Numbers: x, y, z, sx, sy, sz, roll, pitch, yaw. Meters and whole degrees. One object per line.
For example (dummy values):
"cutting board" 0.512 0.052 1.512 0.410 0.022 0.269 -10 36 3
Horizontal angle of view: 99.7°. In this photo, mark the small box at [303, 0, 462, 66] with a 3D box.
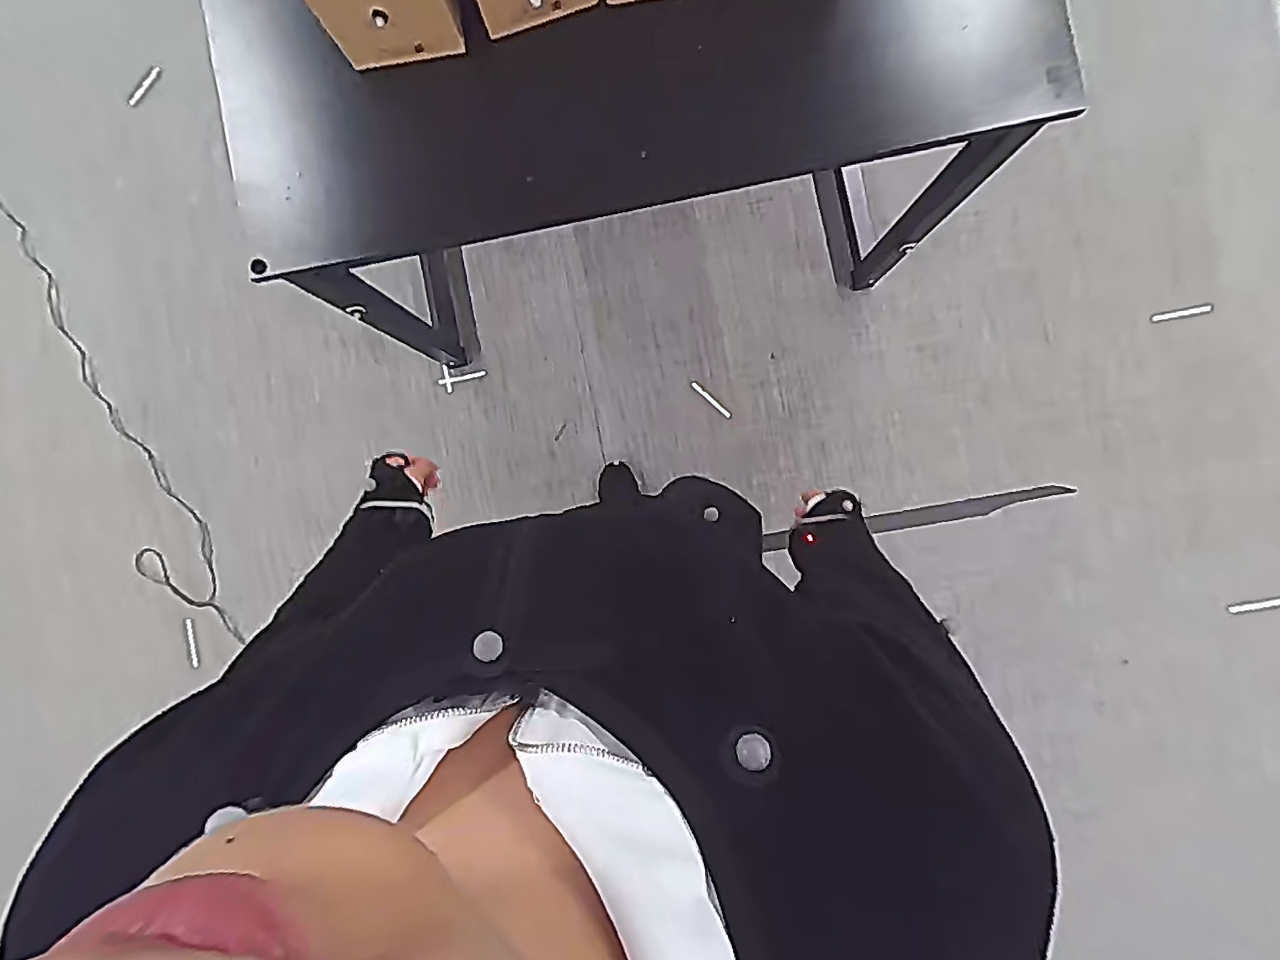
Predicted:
"small box" -0.348 -0.688 0.711 0.168 0.176 0.179 -8 89 2
